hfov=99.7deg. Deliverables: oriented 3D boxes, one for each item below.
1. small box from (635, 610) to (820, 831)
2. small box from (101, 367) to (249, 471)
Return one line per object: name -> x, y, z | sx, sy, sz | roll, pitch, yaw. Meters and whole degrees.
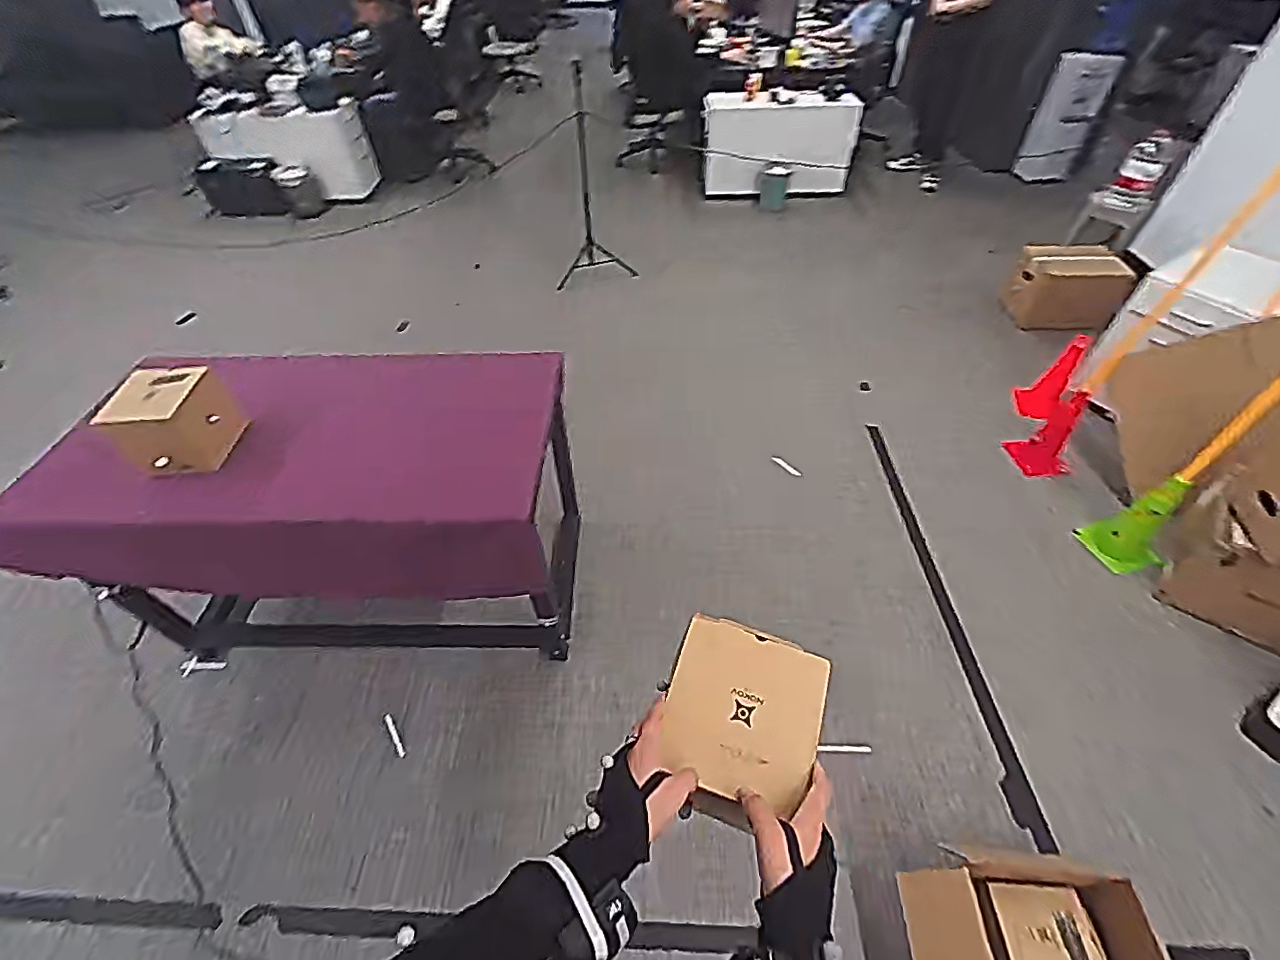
small box -> 0.098, 0.293, 0.653 | 0.168, 0.176, 0.179 | 19, 54, 9
small box -> -1.050, -0.141, 1.245 | 0.168, 0.176, 0.179 | -3, 49, -1
